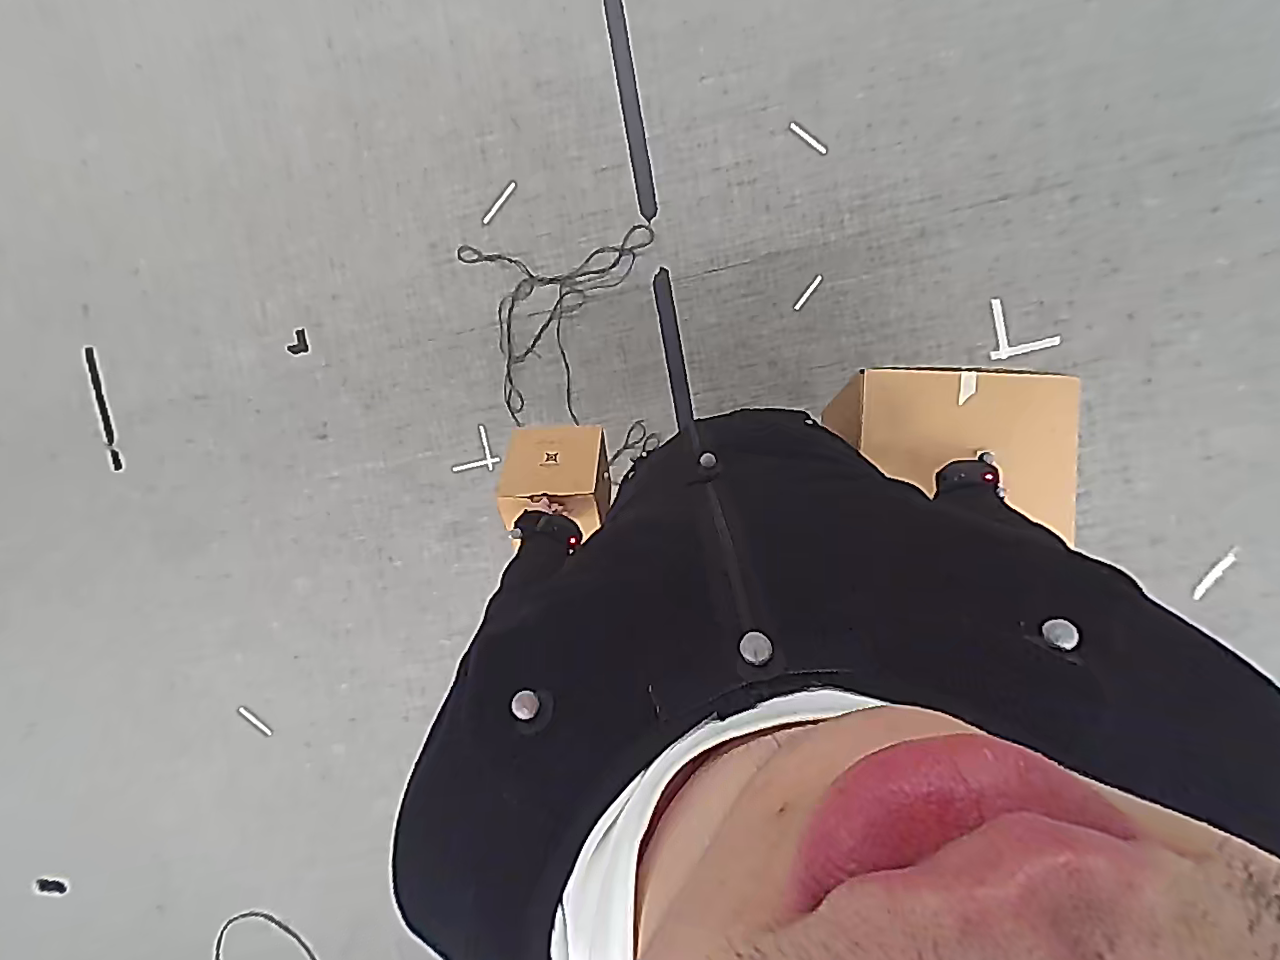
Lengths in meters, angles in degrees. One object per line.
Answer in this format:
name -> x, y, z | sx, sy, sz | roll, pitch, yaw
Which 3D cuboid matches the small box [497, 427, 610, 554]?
small box -> -0.147, 0.023, 0.991 | 0.168, 0.179, 0.176 | -1, 136, 3
